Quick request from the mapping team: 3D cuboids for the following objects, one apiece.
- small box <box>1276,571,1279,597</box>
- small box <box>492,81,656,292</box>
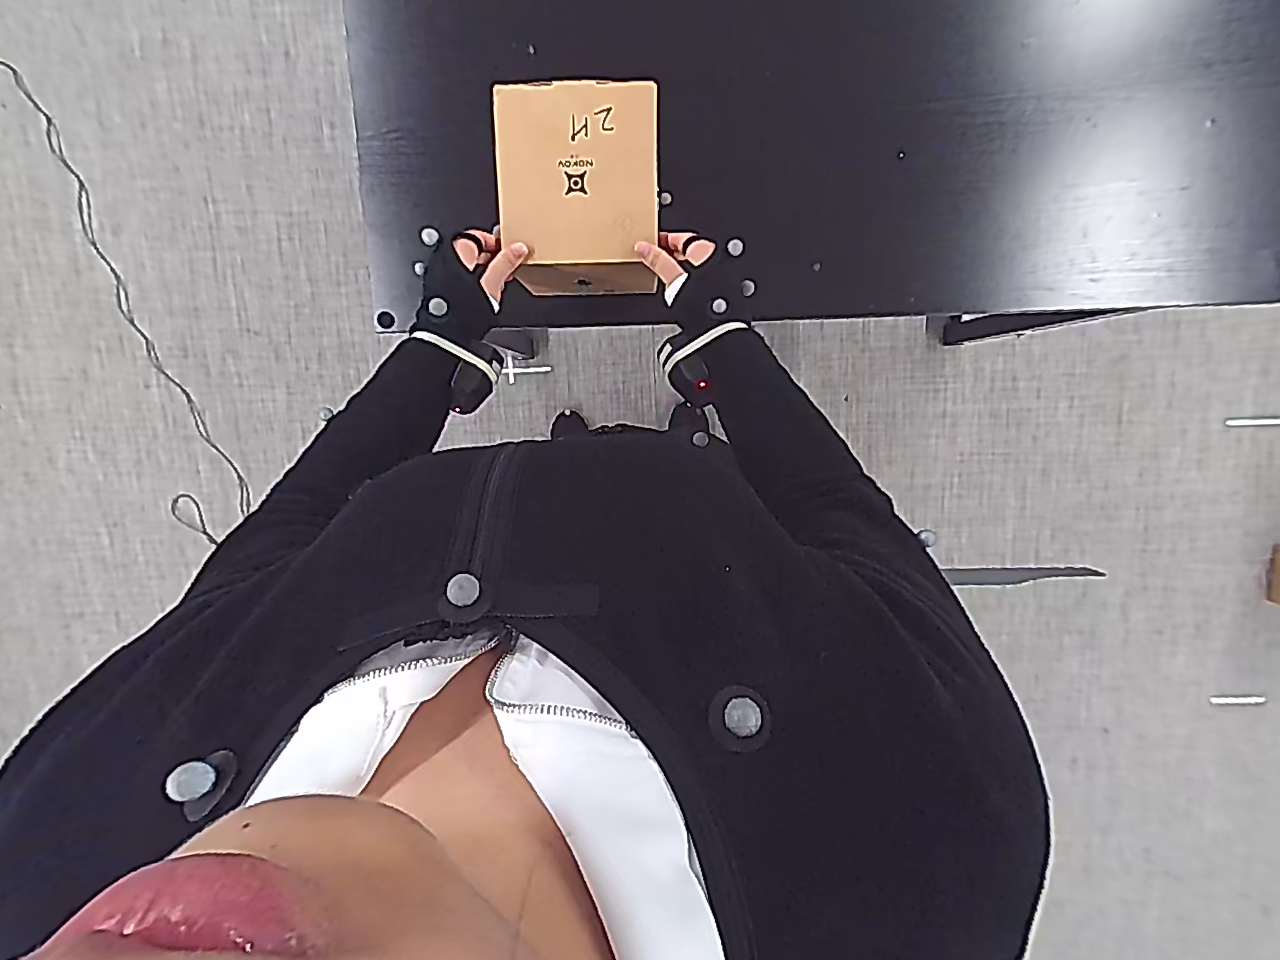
[{"bbox_3d":[1.830,0.263,1.402,0.168,0.176,0.179,-3,97,1],"label":"small box"},{"bbox_3d":[-0.065,-0.323,0.633,0.168,0.176,0.179,-1,97,1],"label":"small box"}]
